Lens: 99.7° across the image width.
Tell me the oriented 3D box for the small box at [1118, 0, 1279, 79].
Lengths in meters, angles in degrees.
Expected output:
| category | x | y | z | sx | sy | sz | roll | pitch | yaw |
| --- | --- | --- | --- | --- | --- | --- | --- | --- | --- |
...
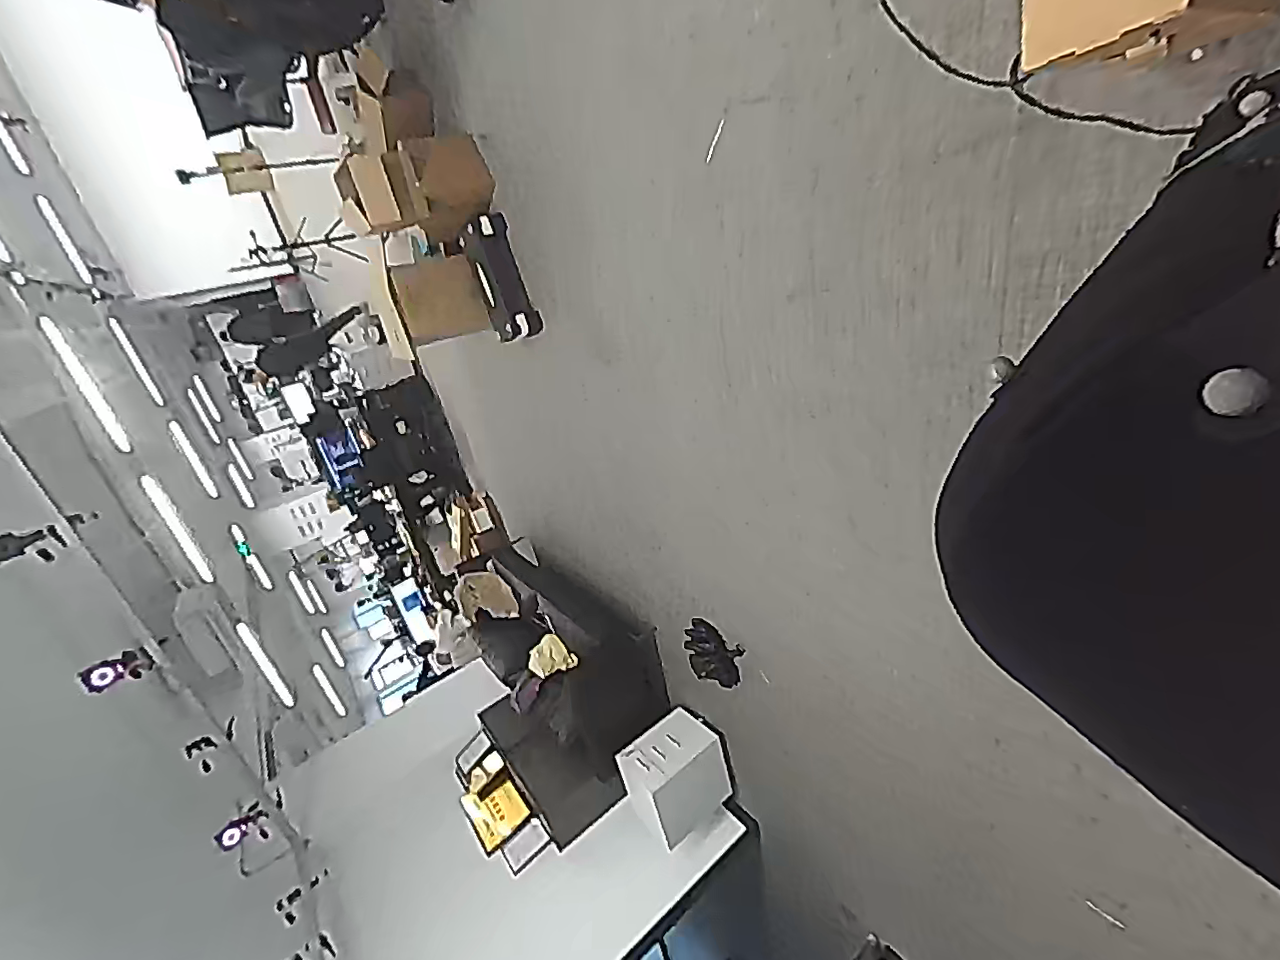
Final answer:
| category | x | y | z | sx | sy | sz | roll | pitch | yaw |
| --- | --- | --- | --- | --- | --- | --- | --- | --- | --- |
| small box | 0.869 | -0.754 | 0.830 | 0.168 | 0.176 | 0.179 | 11 | 123 | 56 |
